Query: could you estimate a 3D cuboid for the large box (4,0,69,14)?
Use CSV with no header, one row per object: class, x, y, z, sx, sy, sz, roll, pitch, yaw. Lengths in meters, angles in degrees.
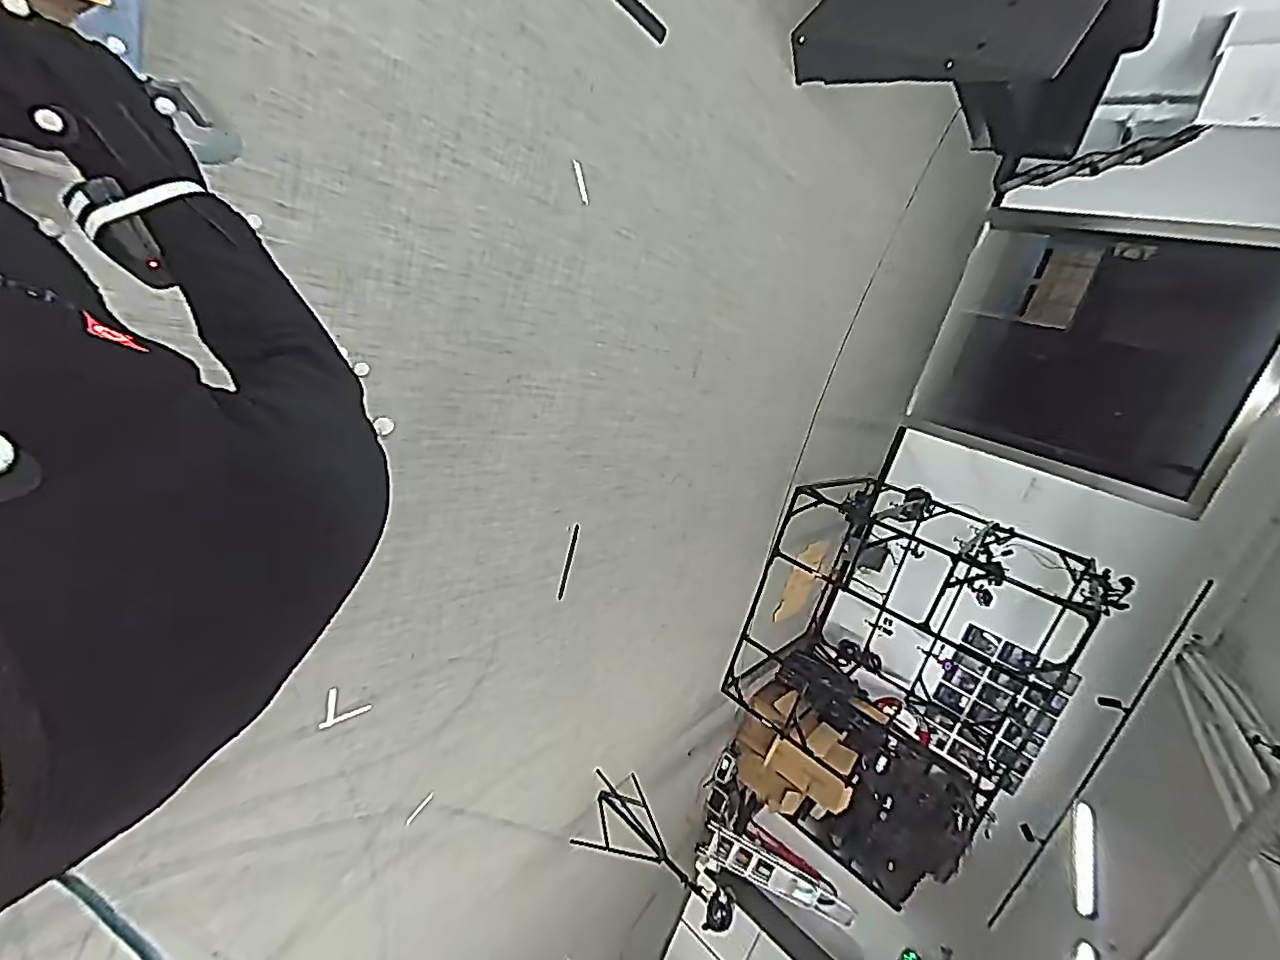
large box,-0.839,-0.732,0.505,0.408,0.320,0.320,-12,122,-51
